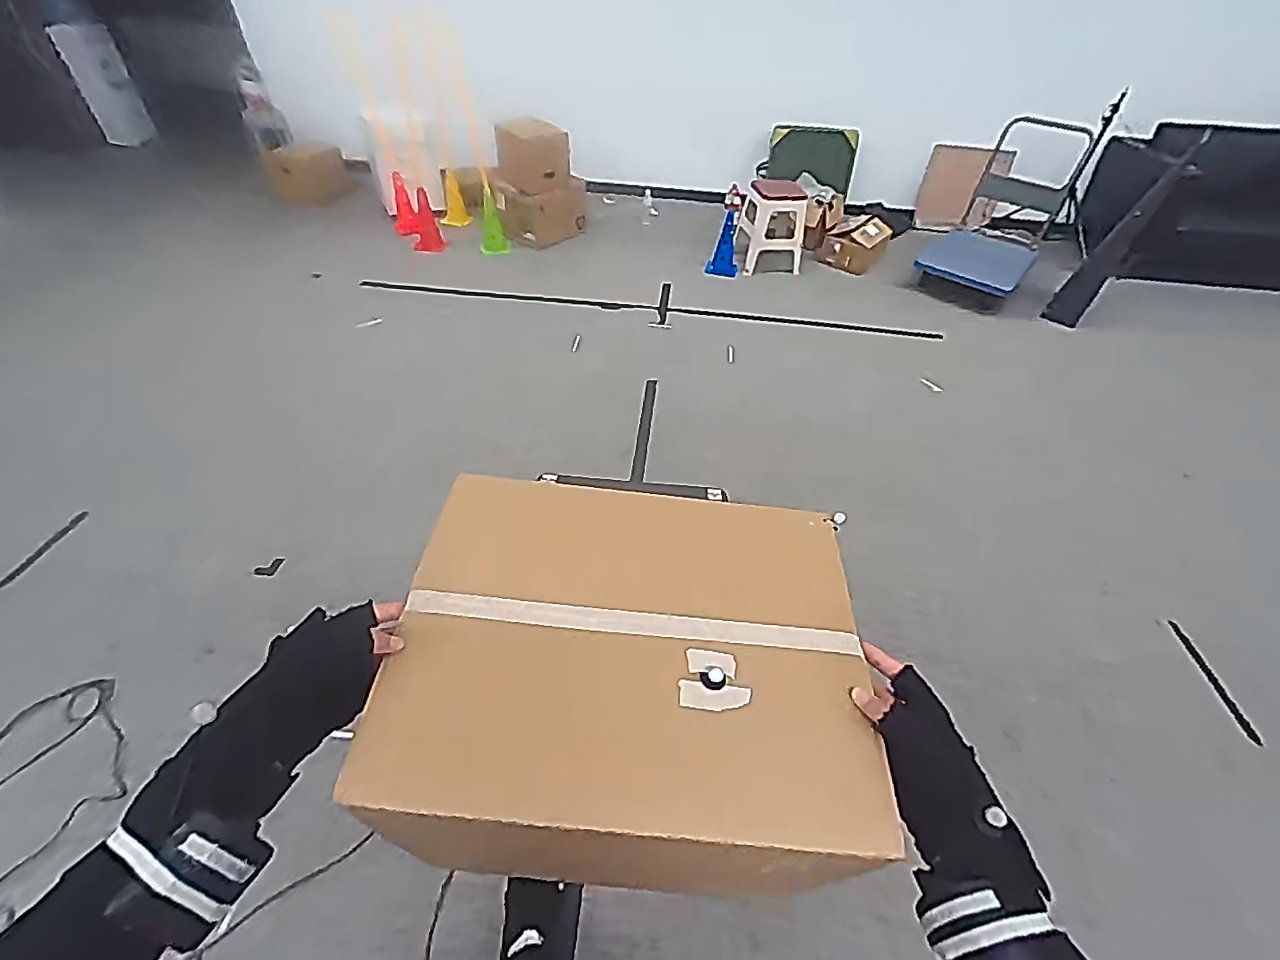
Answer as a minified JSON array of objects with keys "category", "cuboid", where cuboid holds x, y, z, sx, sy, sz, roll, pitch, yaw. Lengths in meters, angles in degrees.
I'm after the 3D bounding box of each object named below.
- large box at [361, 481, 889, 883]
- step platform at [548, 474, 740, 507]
[{"category":"large box","cuboid":[-0.016,0.231,0.606,0.408,0.320,0.320,7,48,-2]},{"category":"step platform","cuboid":[0.003,0.159,1.827,0.684,0.204,0.286,5,45,-1]}]
